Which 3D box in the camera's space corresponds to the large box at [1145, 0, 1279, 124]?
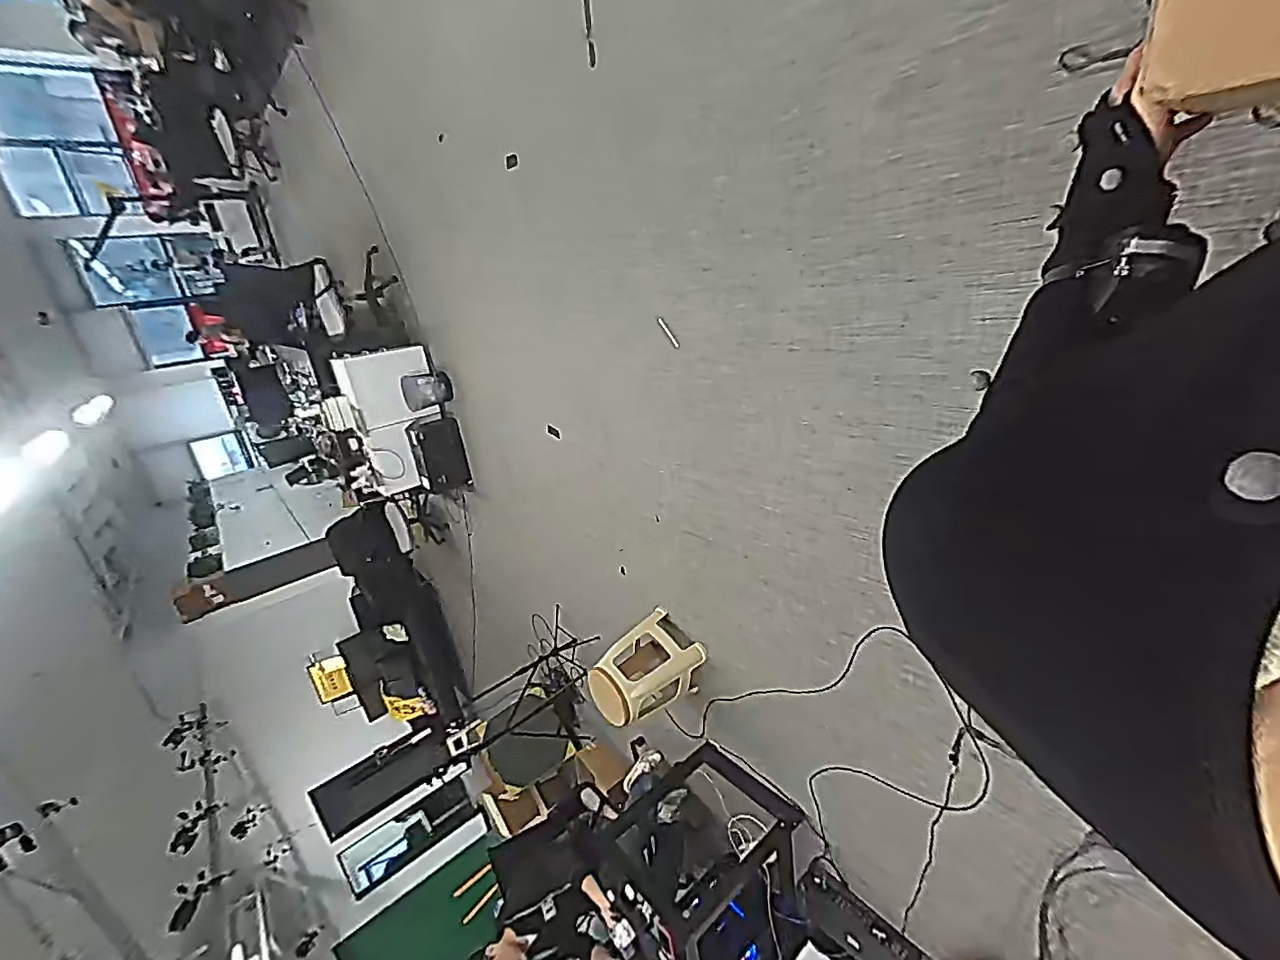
[{"bbox_3d":[0.447,-0.332,0.150,0.408,0.320,0.320,14,124,42],"label":"large box"}]
